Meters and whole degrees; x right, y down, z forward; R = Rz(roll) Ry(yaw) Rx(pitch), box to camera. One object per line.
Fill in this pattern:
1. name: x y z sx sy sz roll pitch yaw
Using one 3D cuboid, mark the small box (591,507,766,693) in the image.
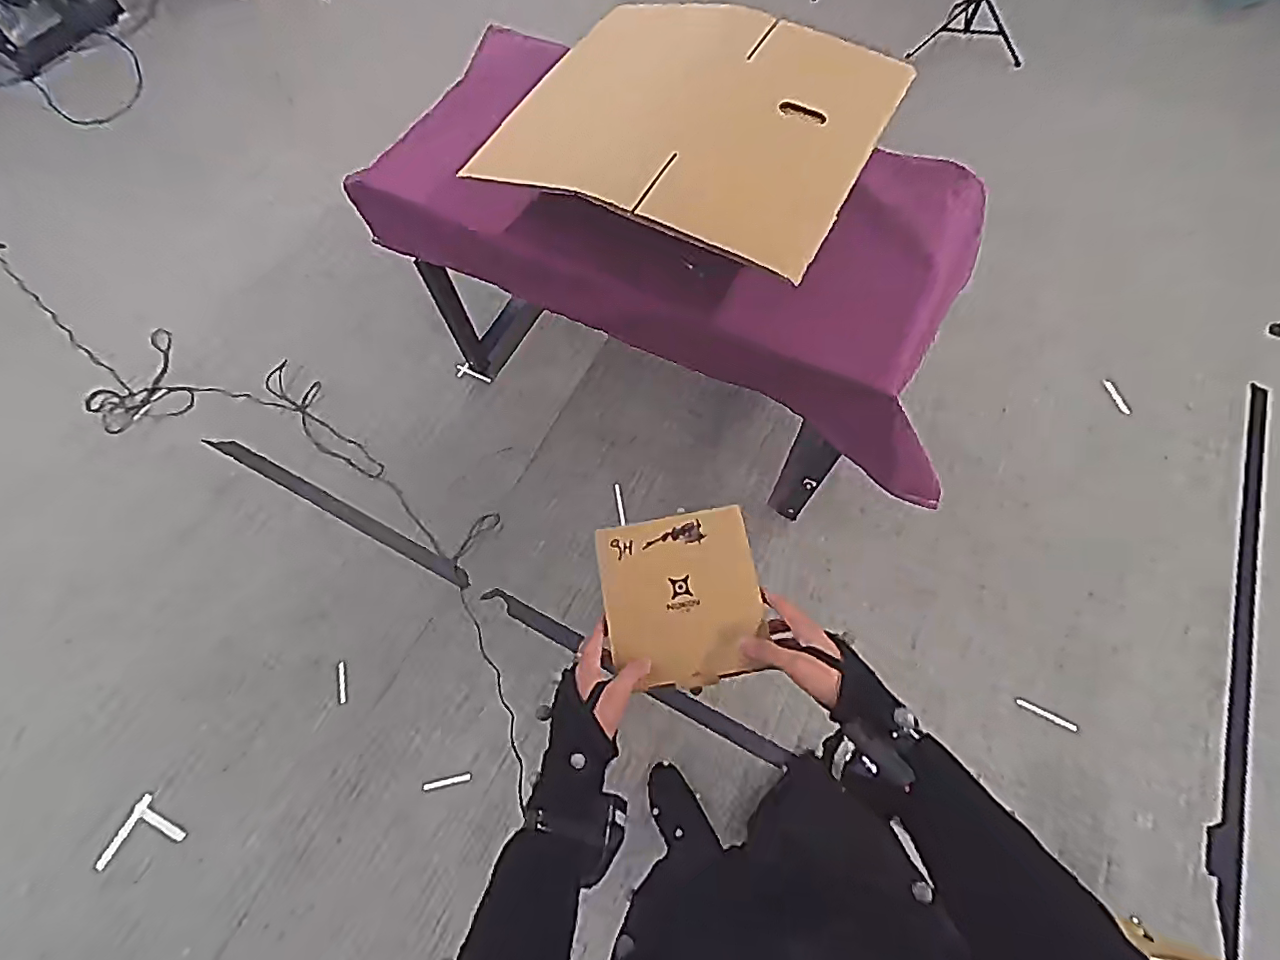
1. small box: 0.043 0.147 0.652 0.168 0.176 0.179 -10 72 1
